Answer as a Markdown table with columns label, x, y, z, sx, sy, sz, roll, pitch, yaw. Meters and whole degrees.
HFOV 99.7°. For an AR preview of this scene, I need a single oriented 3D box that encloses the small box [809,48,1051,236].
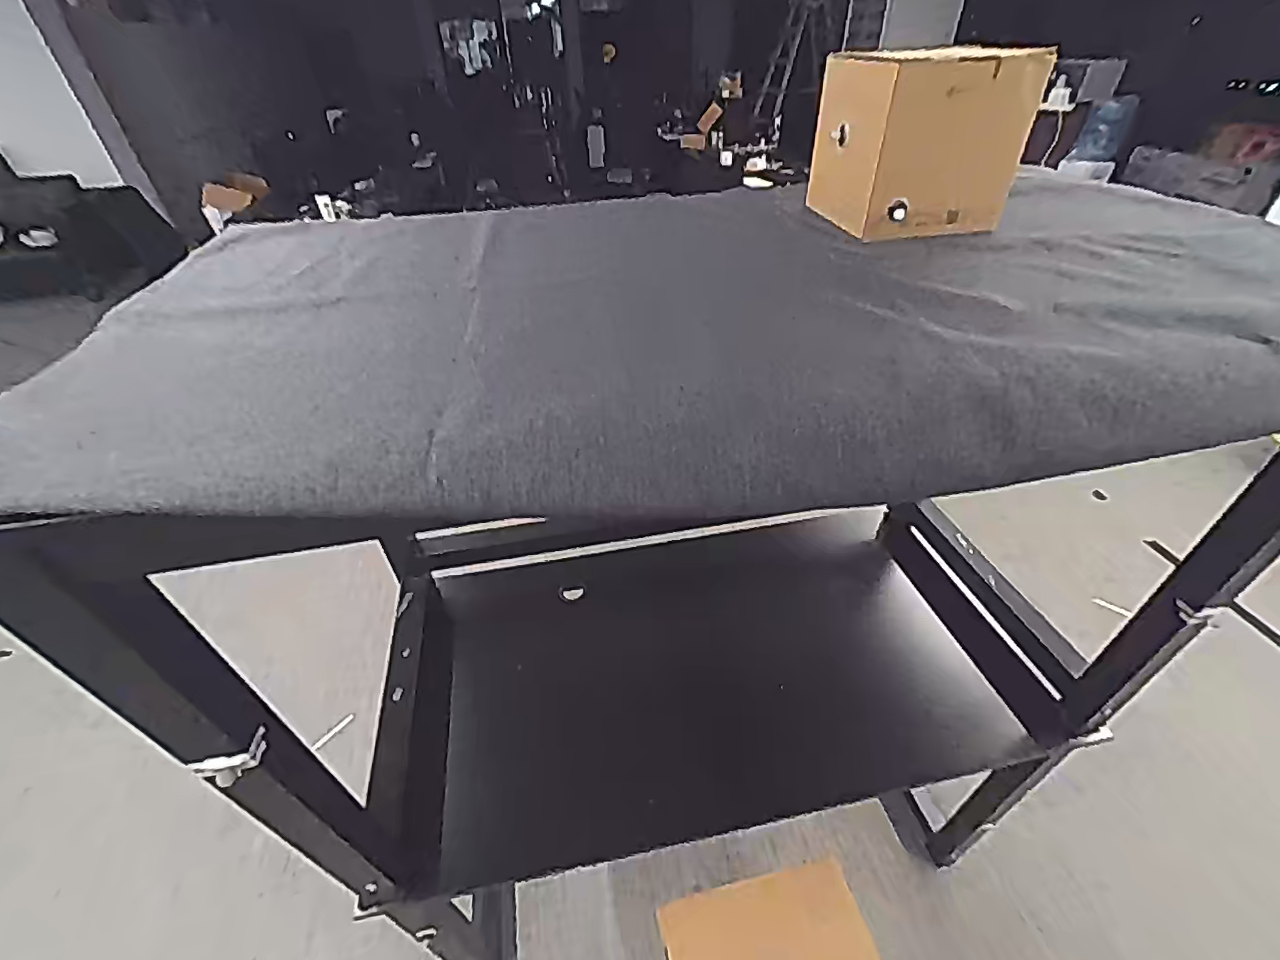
| label | x | y | z | sx | sy | sz | roll | pitch | yaw |
| --- | --- | --- | --- | --- | --- | --- | --- | --- | --- |
| small box | 0.317 | -0.395 | 0.638 | 0.168 | 0.176 | 0.179 | -7 | 39 | -5 |
